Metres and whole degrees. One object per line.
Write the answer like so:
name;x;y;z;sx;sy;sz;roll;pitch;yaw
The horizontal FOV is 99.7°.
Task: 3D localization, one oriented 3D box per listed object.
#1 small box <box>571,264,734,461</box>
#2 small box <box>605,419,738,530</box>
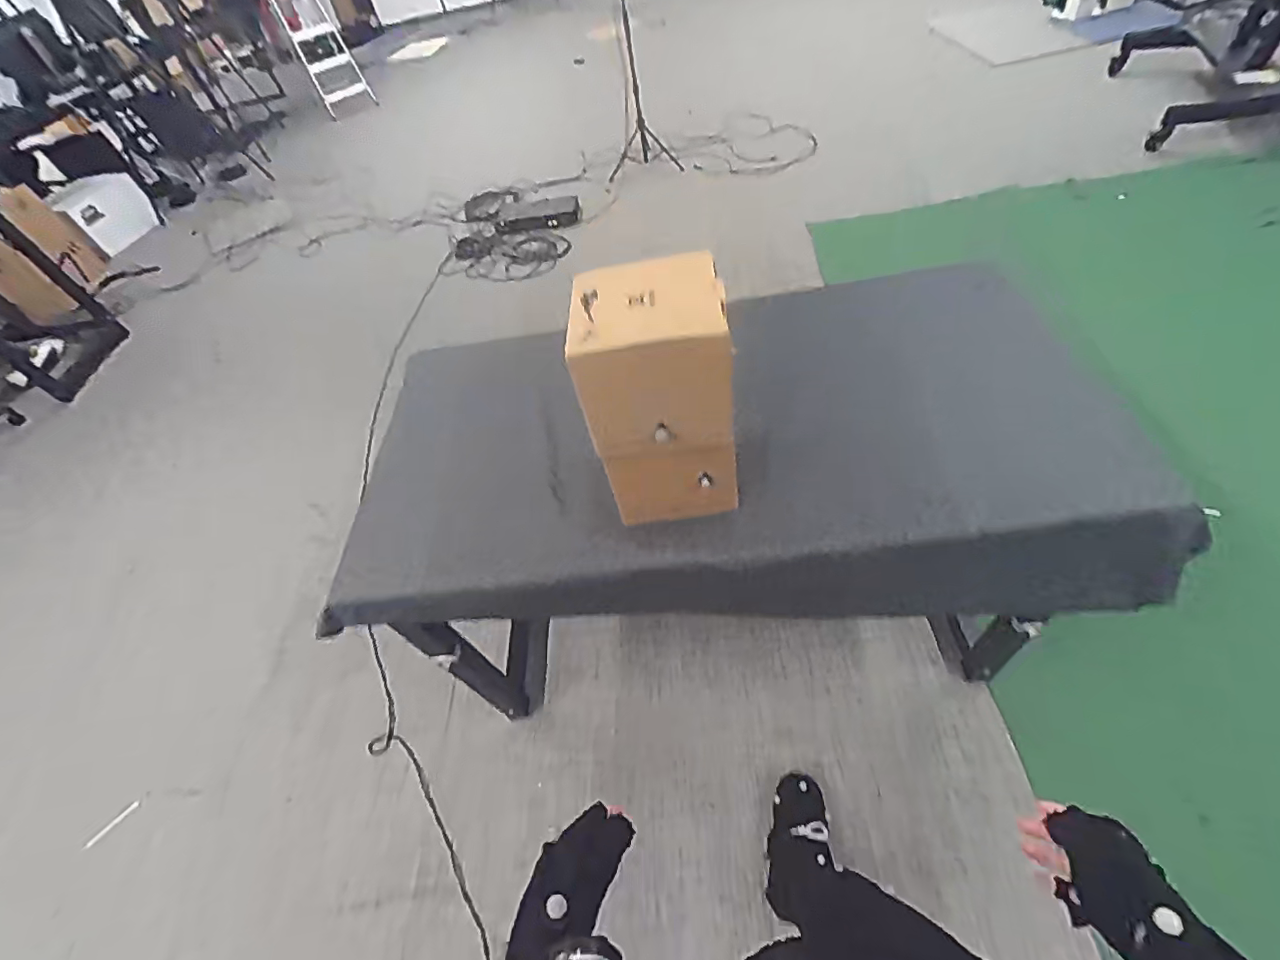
small box;0.022;-0.142;0.680;0.179;0.176;0.168;-6;49;6
small box;0.049;-0.045;0.809;0.179;0.176;0.168;-10;49;6
